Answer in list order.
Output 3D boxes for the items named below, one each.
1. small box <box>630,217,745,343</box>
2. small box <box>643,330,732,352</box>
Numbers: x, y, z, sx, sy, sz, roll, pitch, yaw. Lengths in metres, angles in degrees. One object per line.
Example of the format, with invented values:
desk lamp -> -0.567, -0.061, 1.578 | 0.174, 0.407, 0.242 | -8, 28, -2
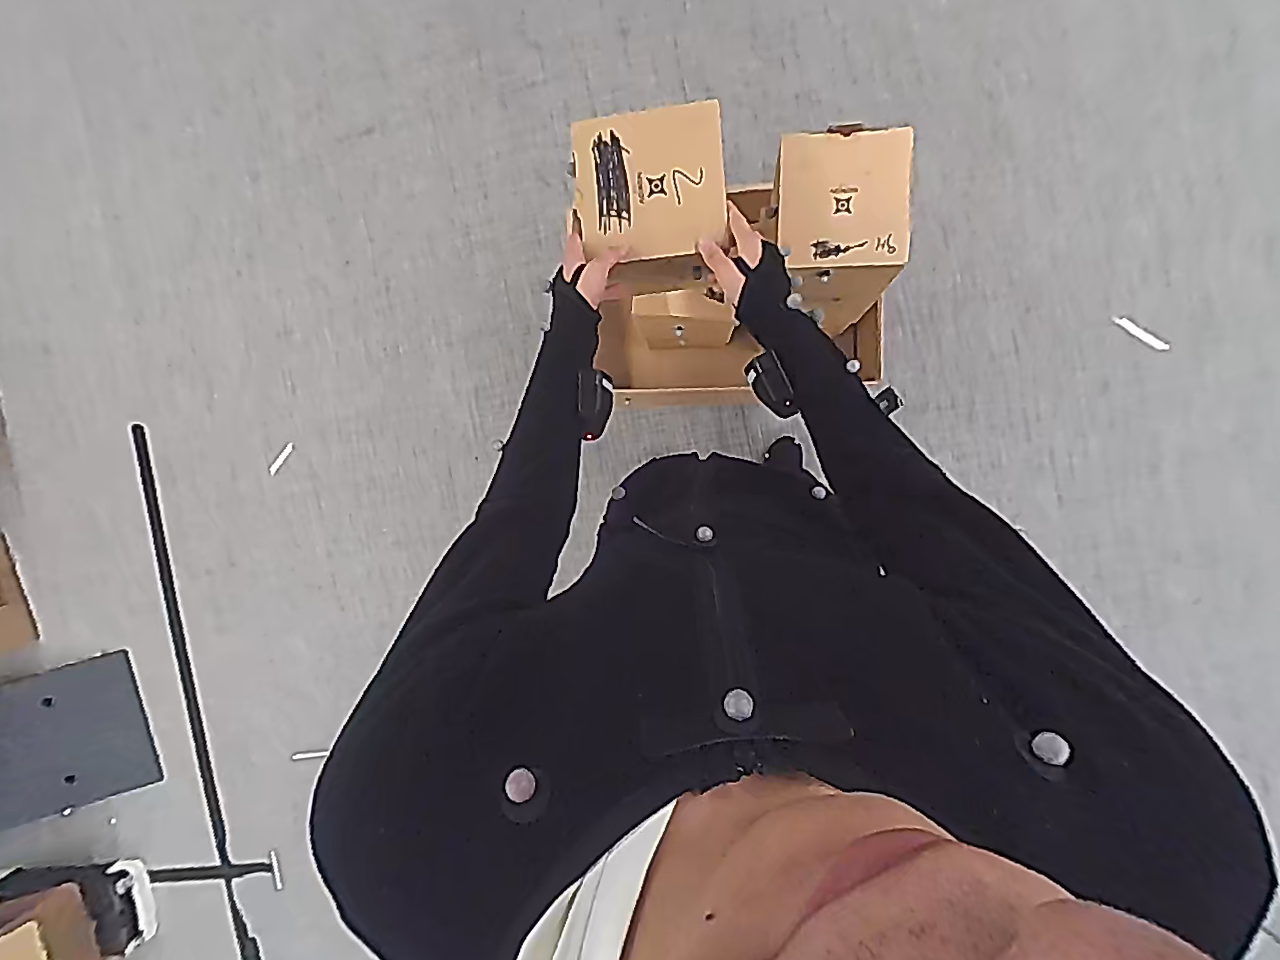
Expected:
small box -> 0.084, -0.345, 0.962 | 0.179, 0.176, 0.168 | 6, 93, 6
small box -> 0.098, -0.365, 1.124 | 0.179, 0.176, 0.168 | 0, 92, 6
